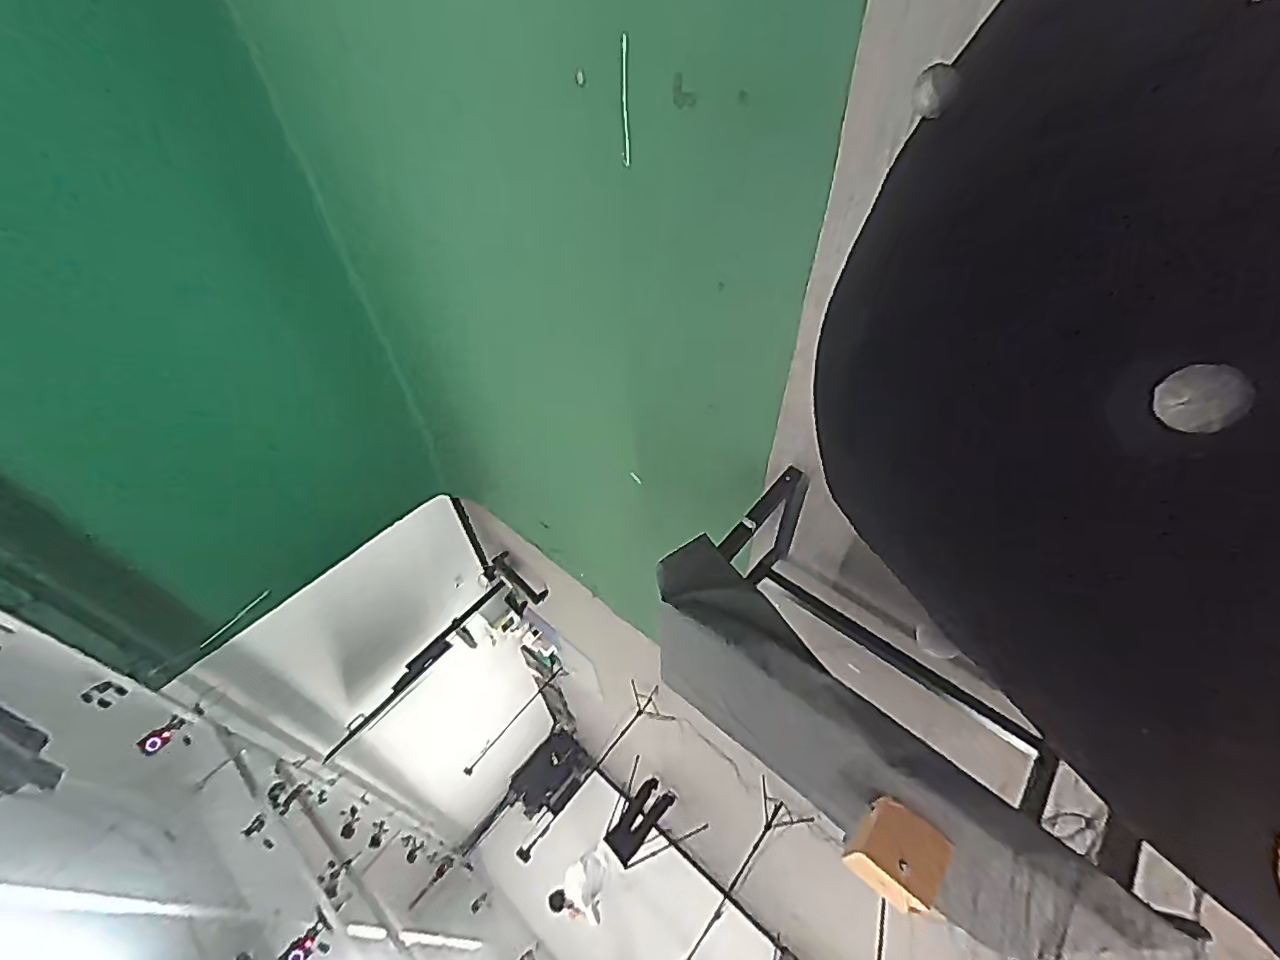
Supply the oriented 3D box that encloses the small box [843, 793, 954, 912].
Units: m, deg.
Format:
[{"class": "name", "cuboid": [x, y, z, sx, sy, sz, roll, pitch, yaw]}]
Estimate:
[{"class": "small box", "cuboid": [0.649, 0.932, 1.358, 0.179, 0.176, 0.168, 34, 147, 25]}]
